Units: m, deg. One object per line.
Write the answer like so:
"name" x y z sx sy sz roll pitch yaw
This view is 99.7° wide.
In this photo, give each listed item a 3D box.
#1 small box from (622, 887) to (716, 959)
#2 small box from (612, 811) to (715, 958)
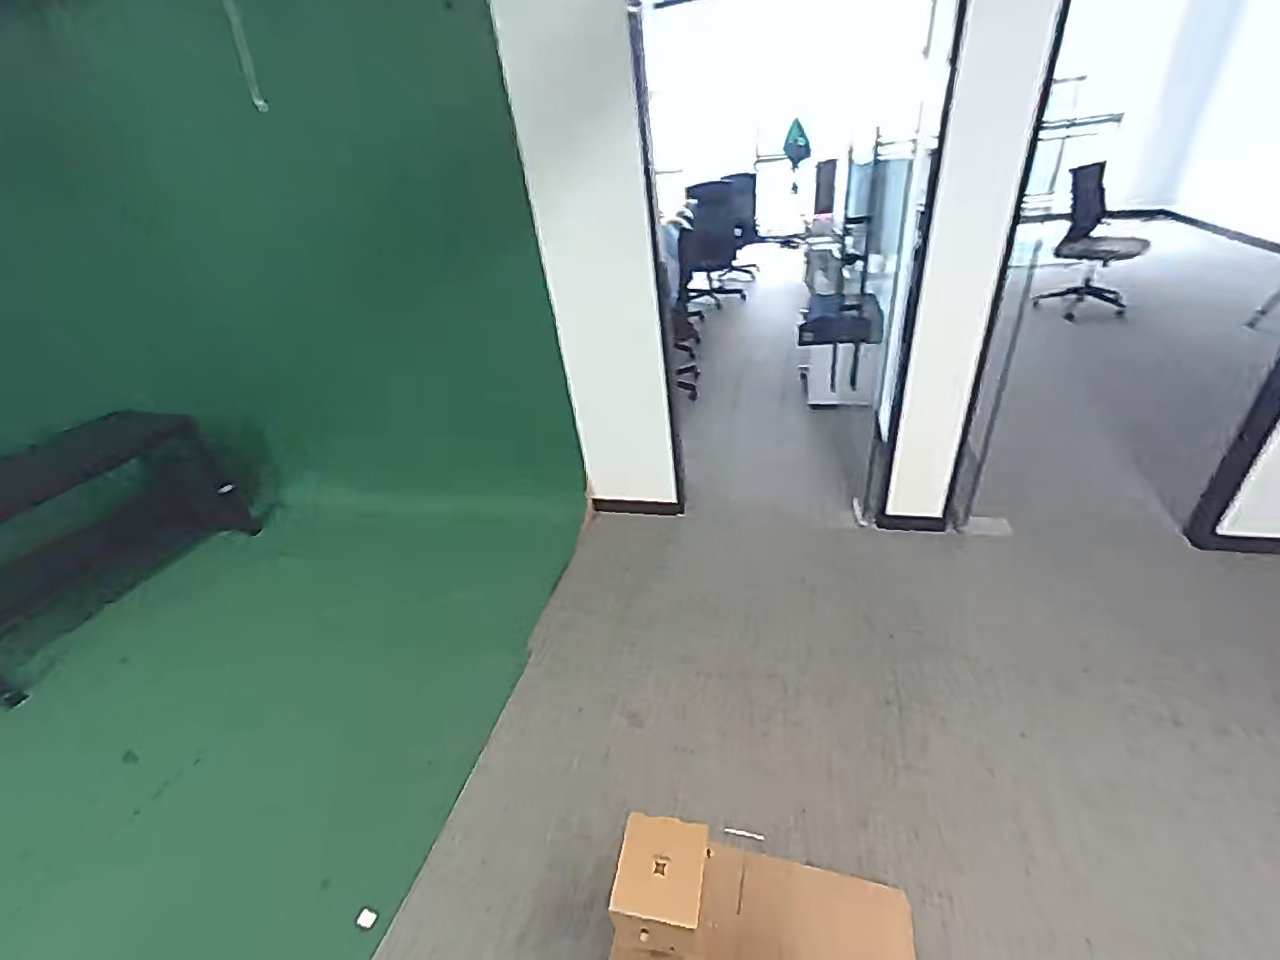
"small box" 0.072 0.935 1.159 0.168 0.176 0.179 1 33 14
"small box" 0.057 0.799 1.071 0.168 0.176 0.179 1 33 15
